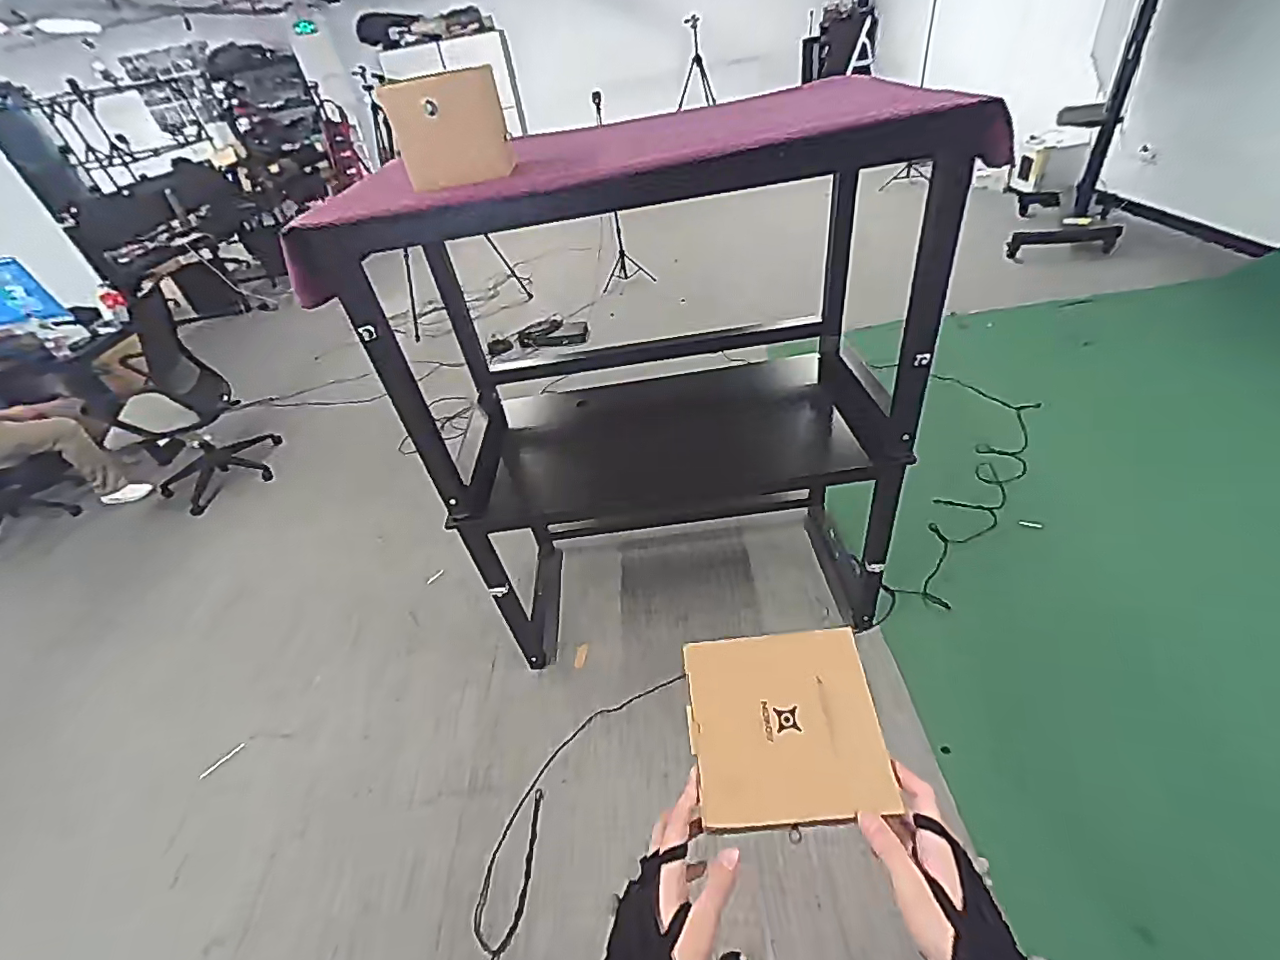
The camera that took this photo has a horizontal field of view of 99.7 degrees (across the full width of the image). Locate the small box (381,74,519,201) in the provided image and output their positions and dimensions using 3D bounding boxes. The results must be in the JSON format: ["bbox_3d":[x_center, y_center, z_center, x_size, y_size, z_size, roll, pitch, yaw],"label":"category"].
[{"bbox_3d":[-0.342,-0.637,1.010,0.179,0.176,0.168,-9,40,2],"label":"small box"}]

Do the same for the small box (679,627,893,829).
[{"bbox_3d":[0.142,0.272,0.582,0.179,0.176,0.168,-7,56,5],"label":"small box"}]
